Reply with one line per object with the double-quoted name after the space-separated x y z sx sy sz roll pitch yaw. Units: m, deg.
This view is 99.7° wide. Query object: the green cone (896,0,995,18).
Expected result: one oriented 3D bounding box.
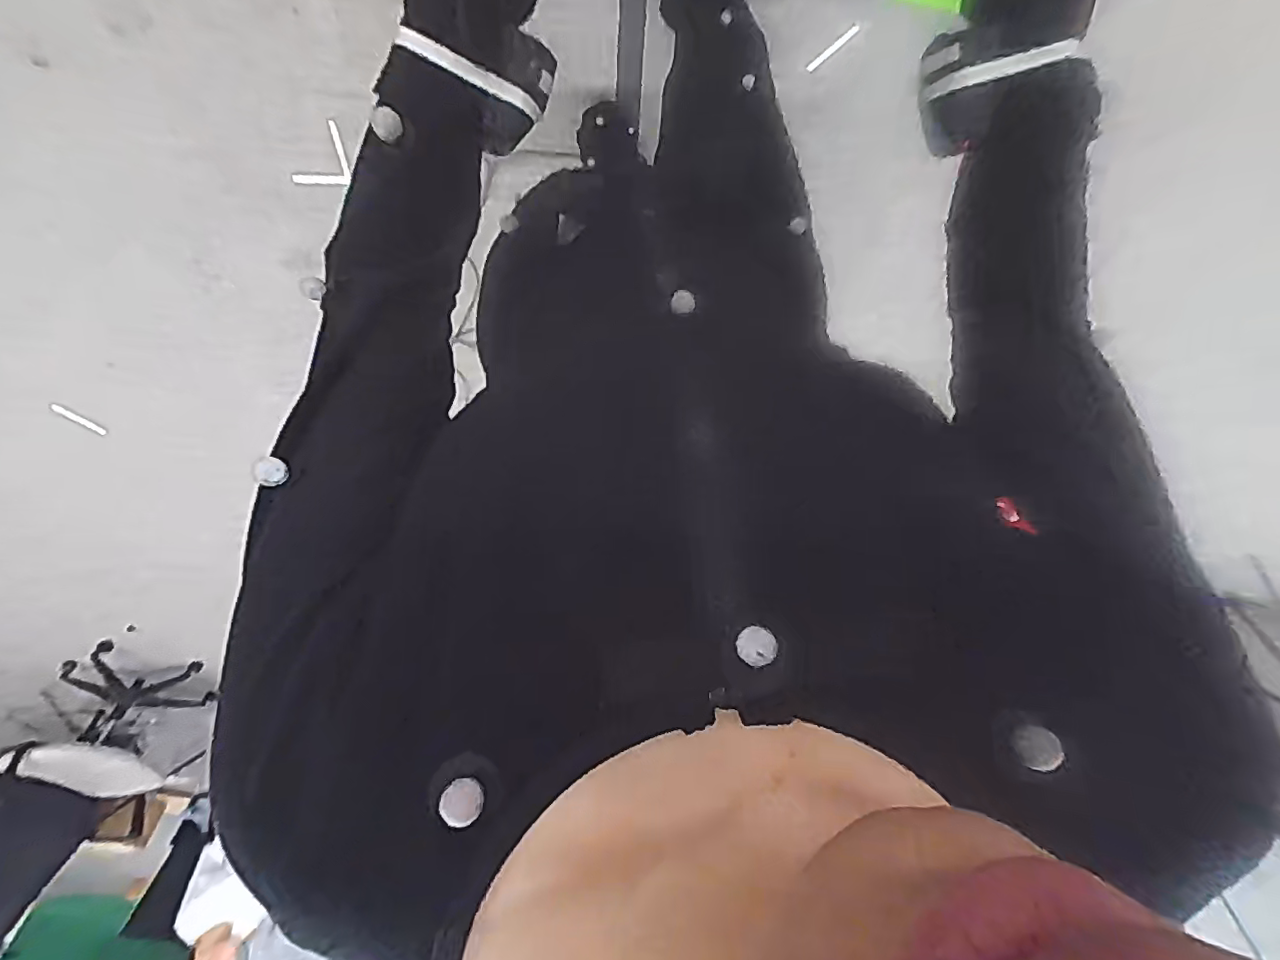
0.571 -0.818 0.810 0.202 0.368 0.200 3 134 -7 "green cone"
